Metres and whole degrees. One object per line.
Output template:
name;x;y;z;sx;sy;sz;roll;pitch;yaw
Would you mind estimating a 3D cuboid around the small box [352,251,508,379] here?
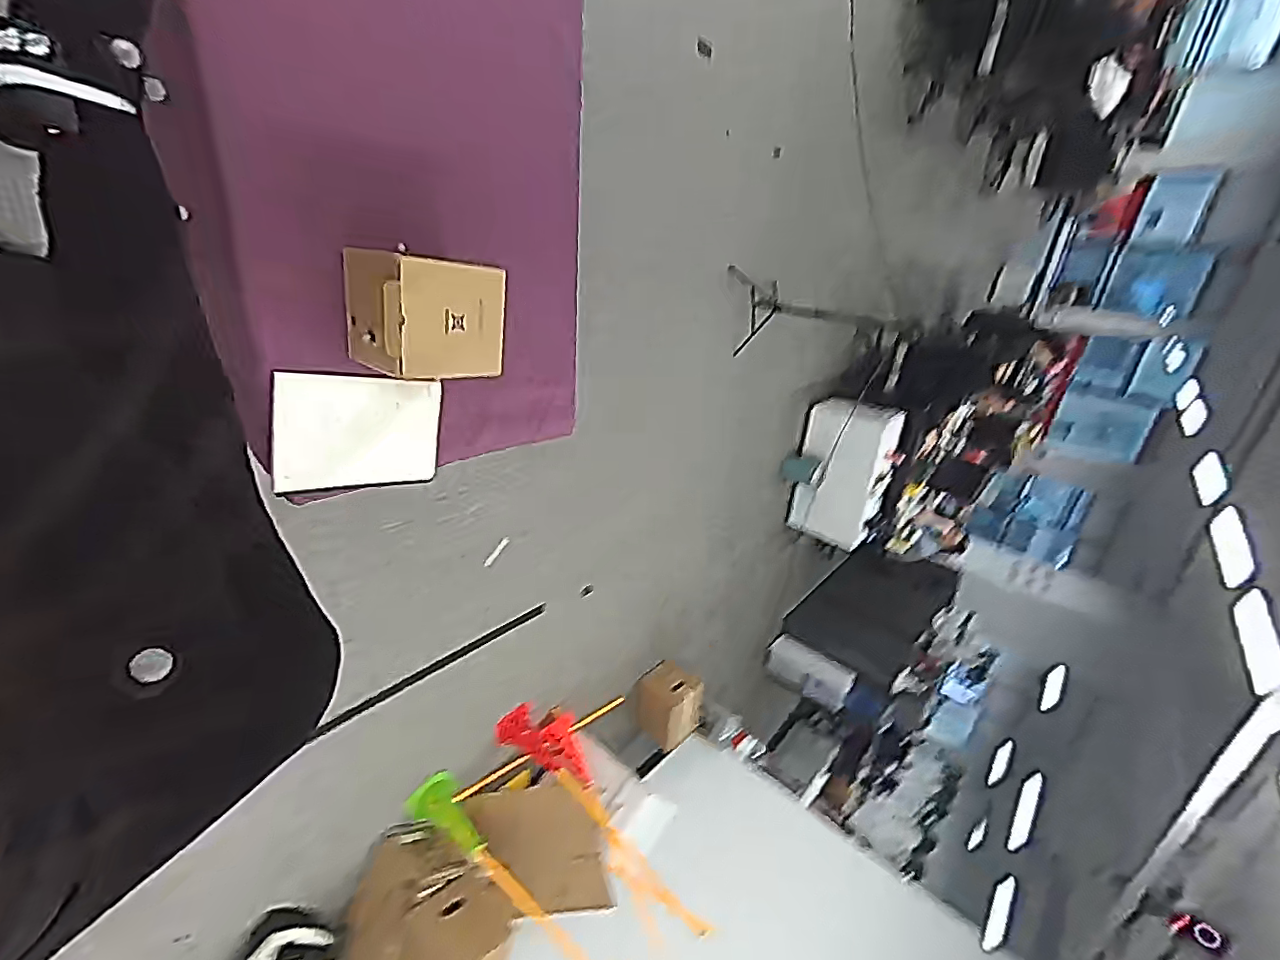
small box;-0.332;-0.257;0.845;0.179;0.176;0.168;-15;121;-49
